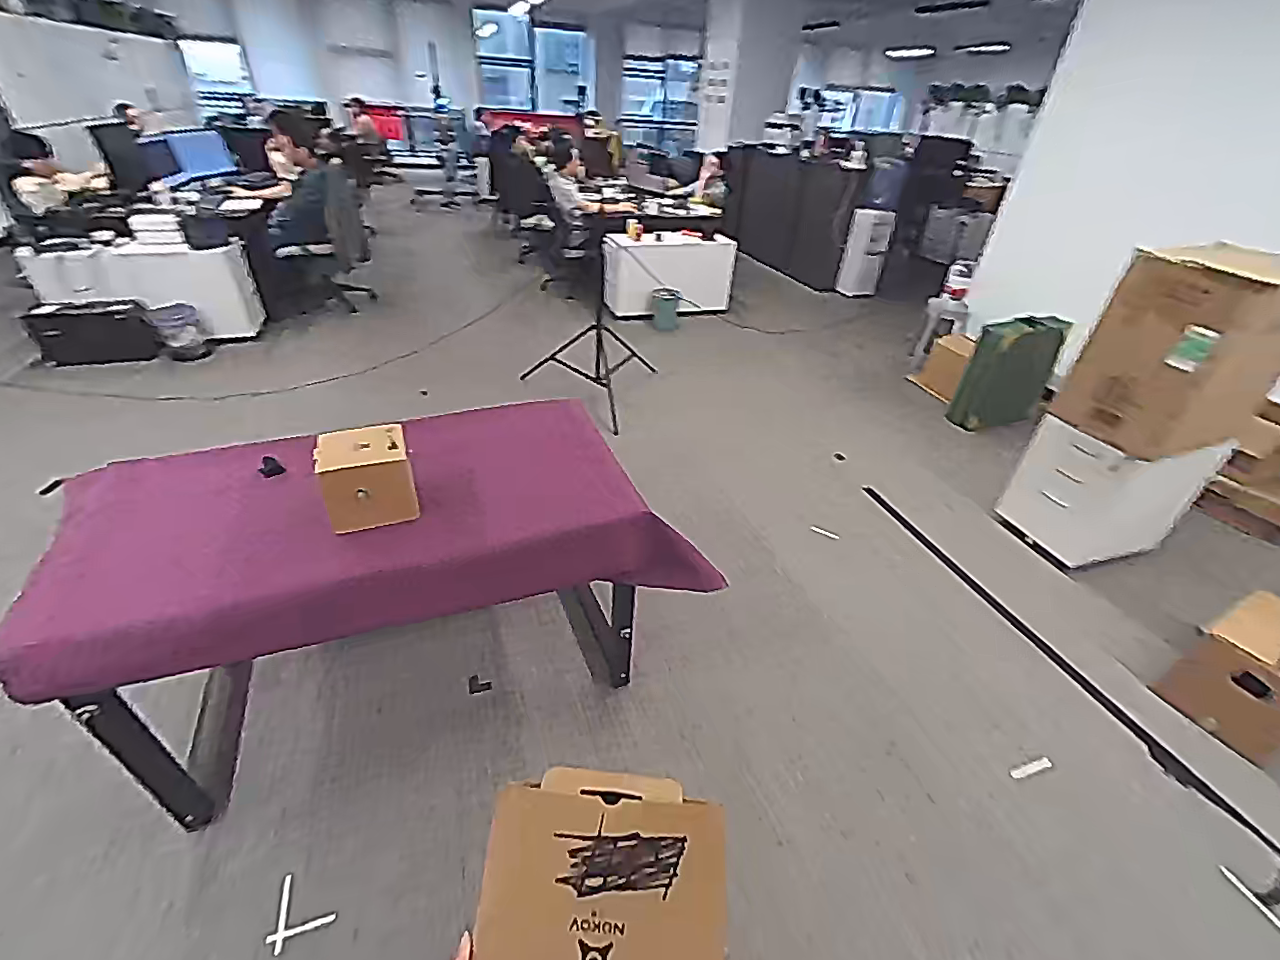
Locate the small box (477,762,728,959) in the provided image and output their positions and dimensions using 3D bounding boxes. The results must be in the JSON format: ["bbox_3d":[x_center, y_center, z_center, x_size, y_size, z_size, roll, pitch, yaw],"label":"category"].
[{"bbox_3d":[-0.024,0.337,0.430,0.168,0.176,0.179,3,57,2],"label":"small box"}]

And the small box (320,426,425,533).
[{"bbox_3d":[-0.604,0.000,1.232,0.179,0.176,0.168,-12,38,-20],"label":"small box"}]
